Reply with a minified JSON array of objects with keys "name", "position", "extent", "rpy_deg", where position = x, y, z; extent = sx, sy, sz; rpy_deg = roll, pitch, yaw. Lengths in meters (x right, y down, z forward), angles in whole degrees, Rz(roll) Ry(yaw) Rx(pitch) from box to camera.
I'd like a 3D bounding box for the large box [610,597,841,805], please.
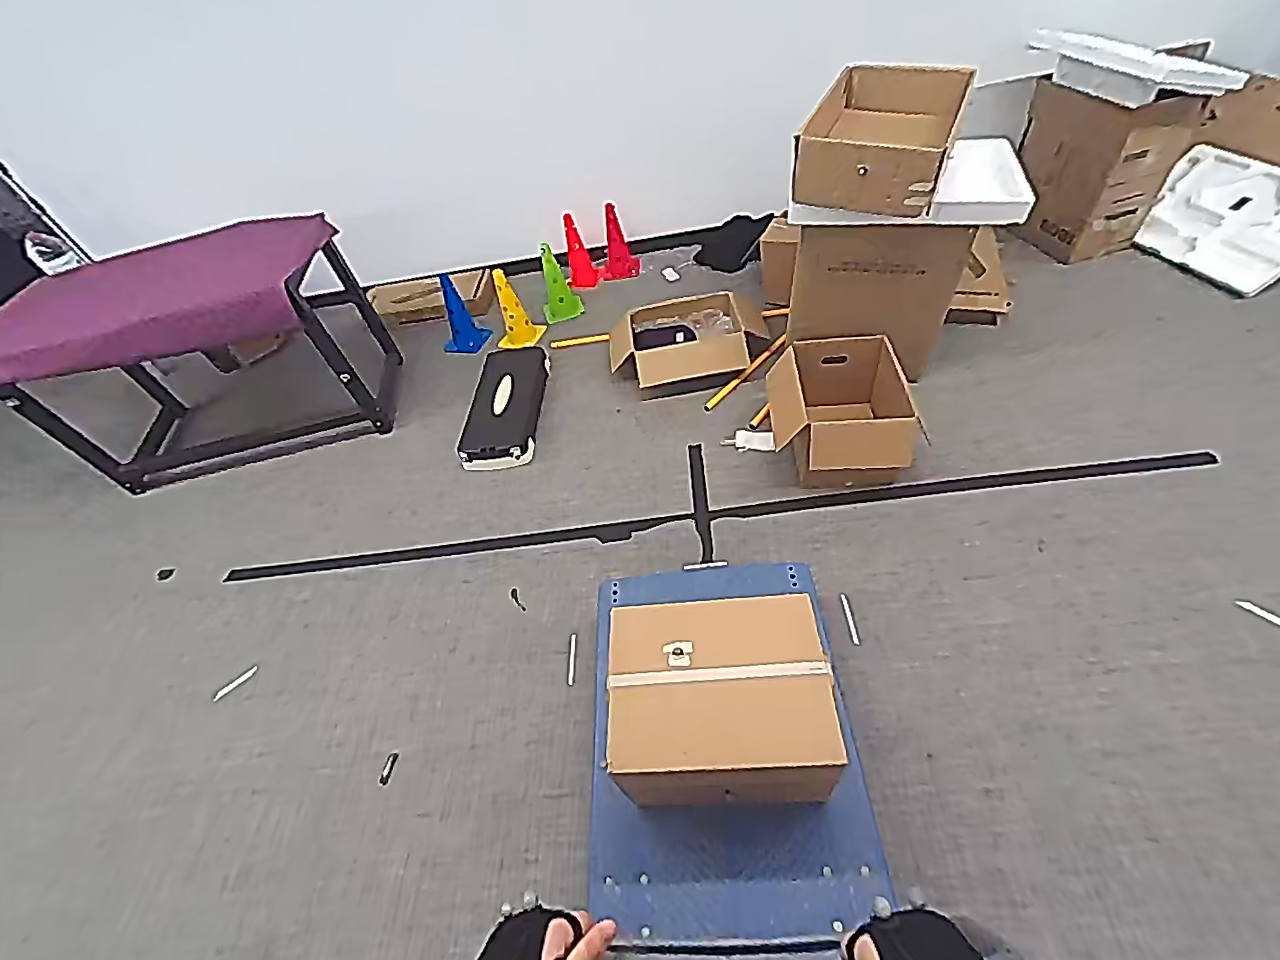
[{"name":"large box","position":[0.166,0.472,1.133],"extent":[0.408,0.320,0.320],"rpy_deg":[-7,48,7]}]
